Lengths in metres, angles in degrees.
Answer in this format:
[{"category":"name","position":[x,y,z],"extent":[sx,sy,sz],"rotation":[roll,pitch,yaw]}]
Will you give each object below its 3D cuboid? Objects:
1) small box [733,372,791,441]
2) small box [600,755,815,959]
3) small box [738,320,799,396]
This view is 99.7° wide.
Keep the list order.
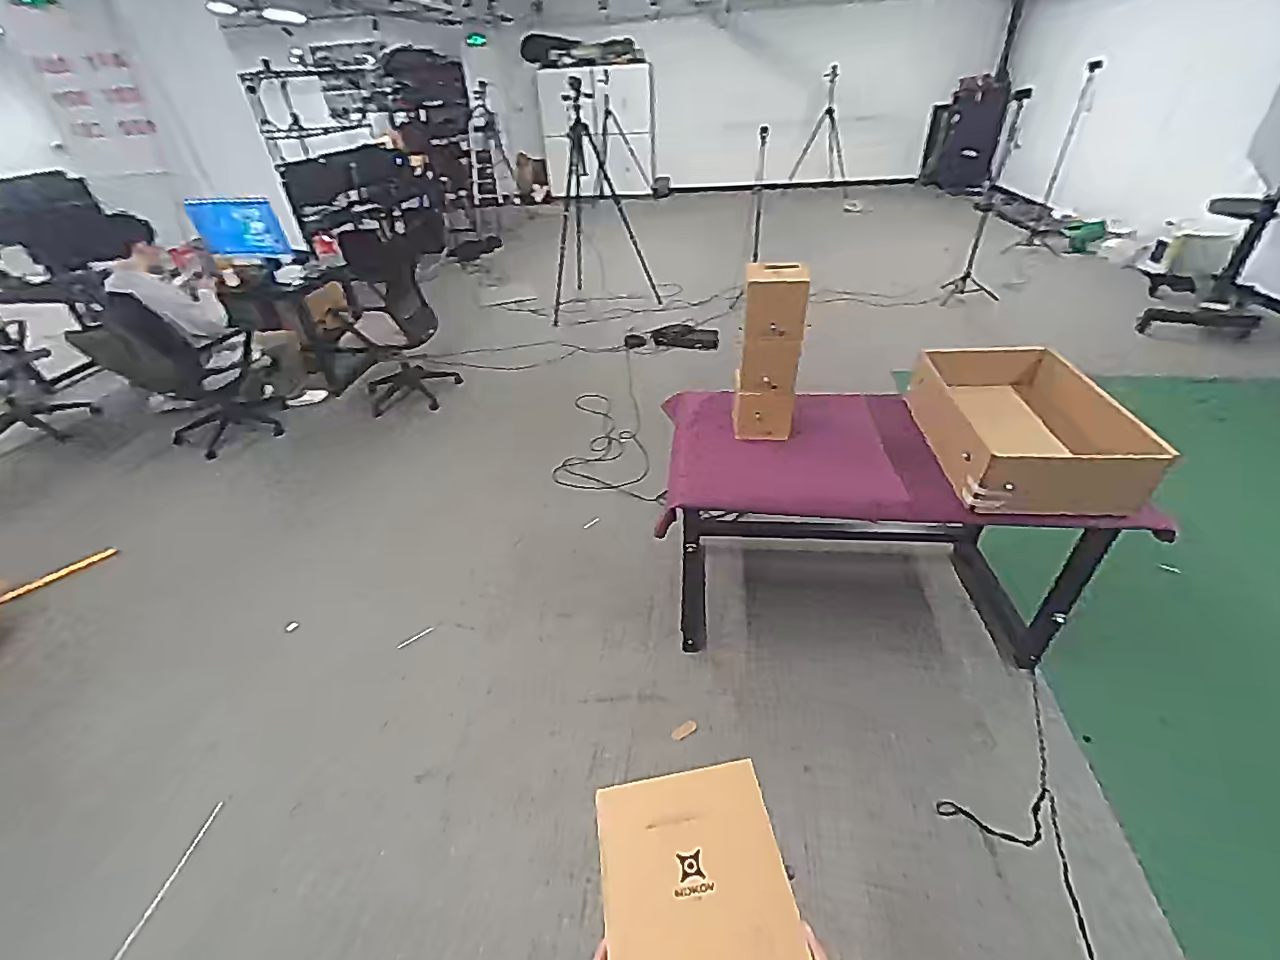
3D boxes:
[{"category":"small box","position":[0.386,-0.237,1.732],"extent":[0.168,0.176,0.179],"rotation":[0,36,6]},{"category":"small box","position":[0.058,0.410,0.531],"extent":[0.168,0.176,0.179],"rotation":[-9,35,-3]},{"category":"small box","position":[0.384,-0.371,1.636],"extent":[0.168,0.176,0.179],"rotation":[3,37,9]}]
